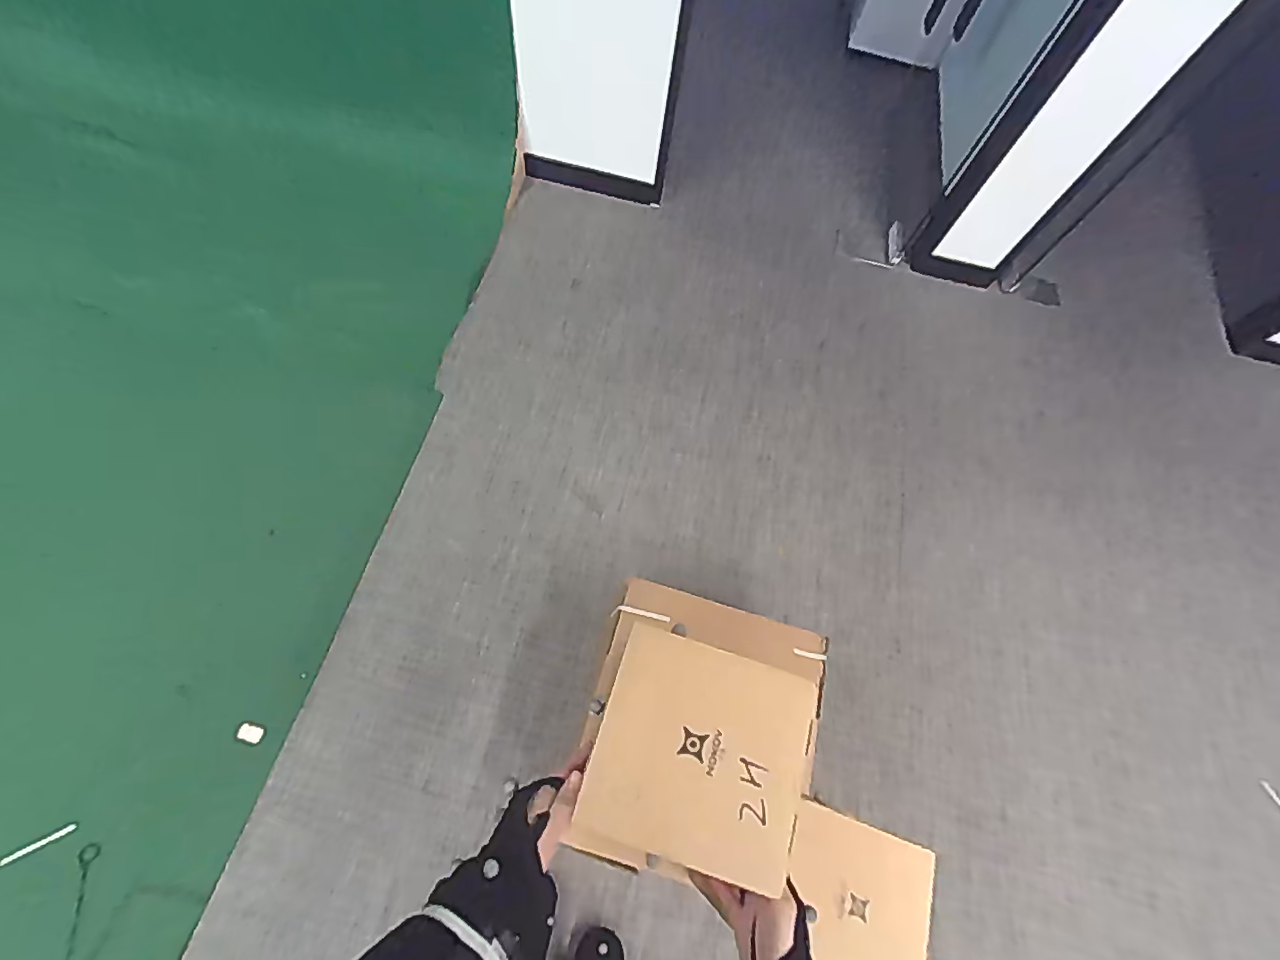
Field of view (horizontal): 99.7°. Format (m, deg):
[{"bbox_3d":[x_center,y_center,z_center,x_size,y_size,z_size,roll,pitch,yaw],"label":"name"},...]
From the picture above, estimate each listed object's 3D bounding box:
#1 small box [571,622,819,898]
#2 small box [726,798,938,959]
[{"bbox_3d":[0.045,0.256,0.522,0.179,0.176,0.168,19,66,3],"label":"small box"},{"bbox_3d":[0.227,0.502,0.665,0.179,0.176,0.168,21,64,2],"label":"small box"}]
